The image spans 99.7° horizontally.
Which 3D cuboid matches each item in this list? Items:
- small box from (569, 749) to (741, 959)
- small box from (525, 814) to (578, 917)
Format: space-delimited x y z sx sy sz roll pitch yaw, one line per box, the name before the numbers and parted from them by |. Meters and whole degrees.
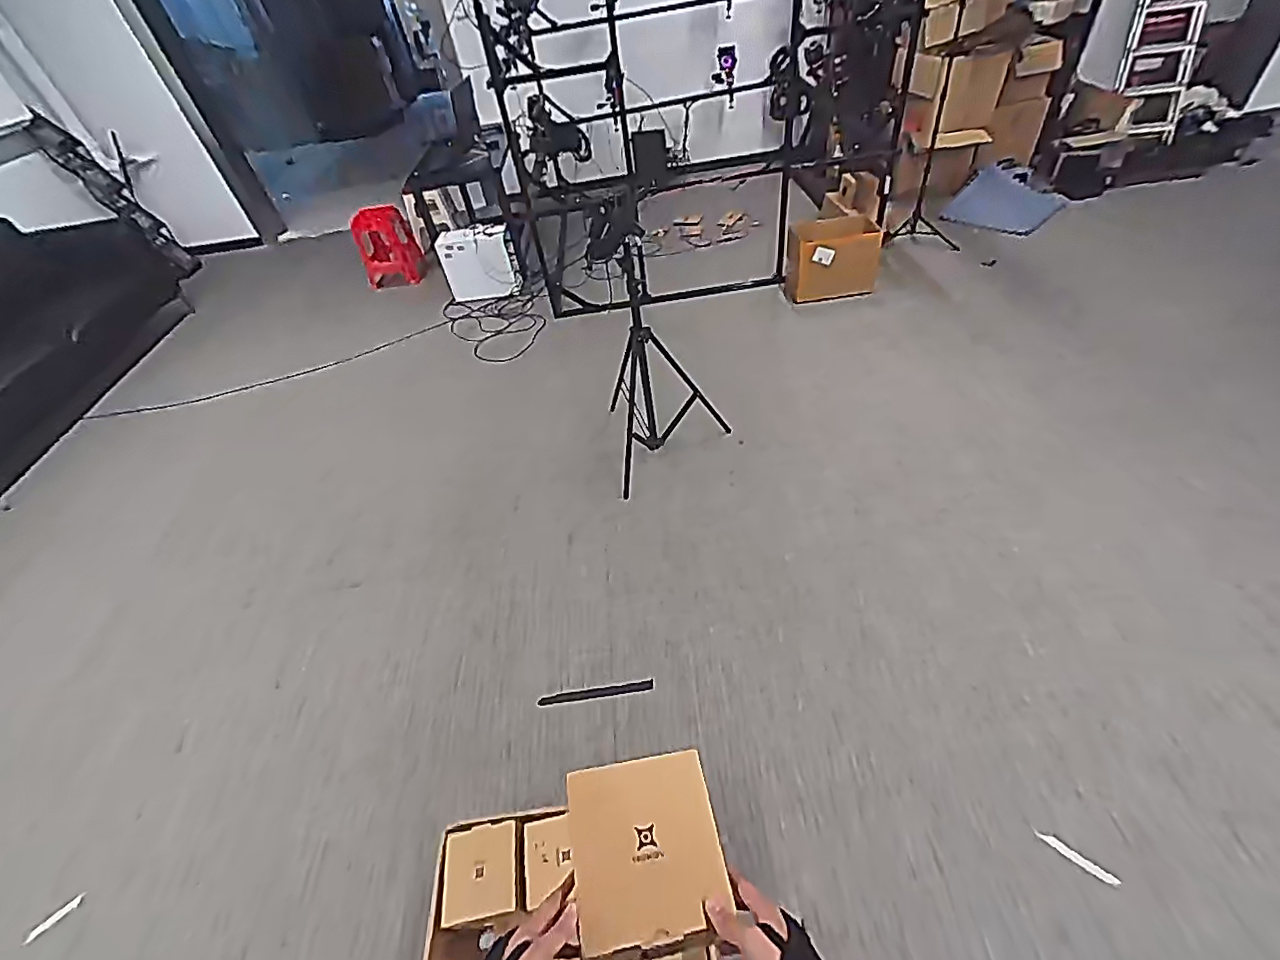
small box | 0.004 0.456 0.651 0.168 0.176 0.179 -6 46 -9
small box | -0.161 0.895 1.264 0.179 0.176 0.168 -12 46 -3
